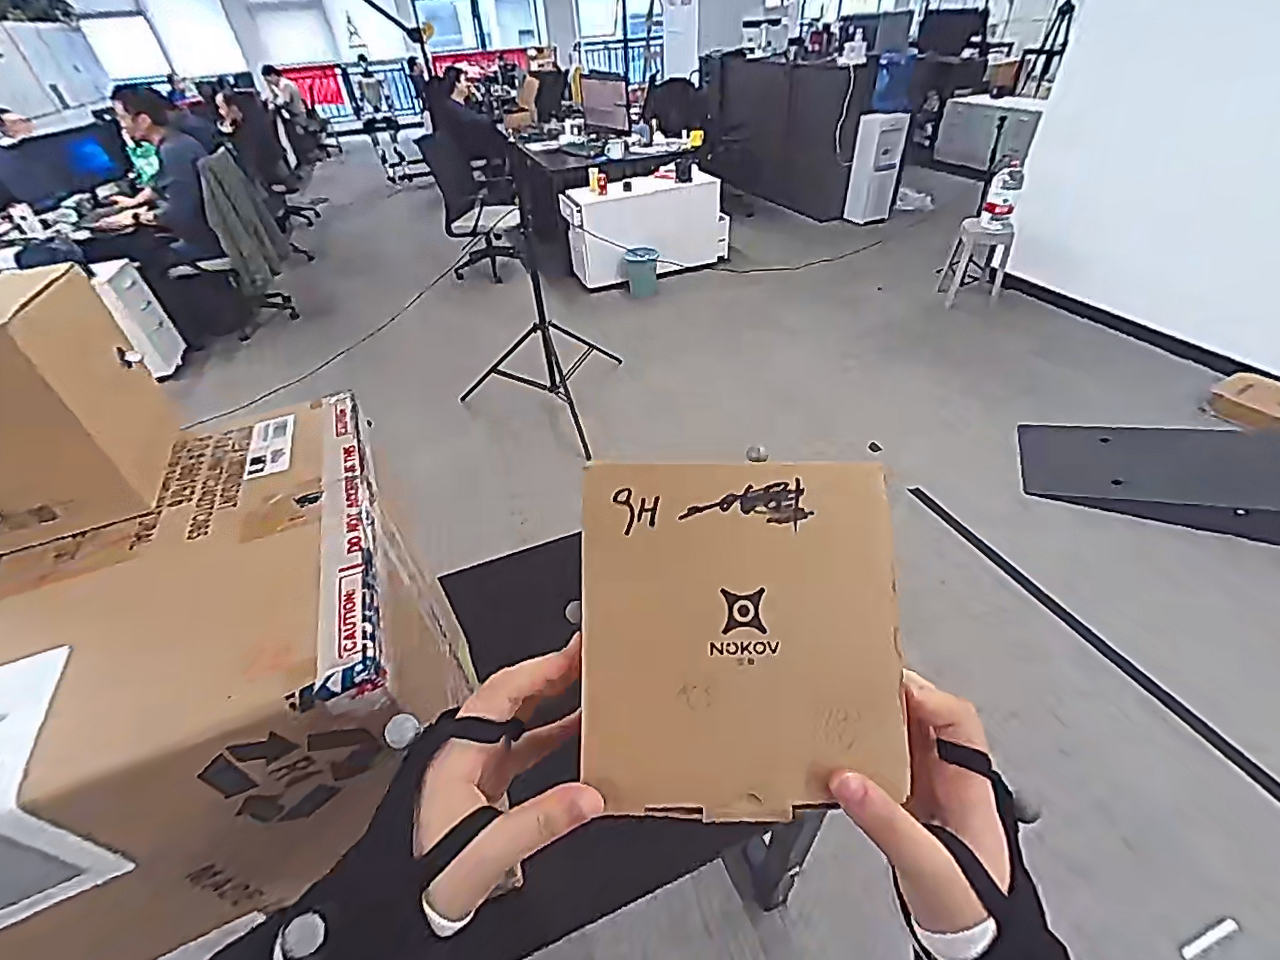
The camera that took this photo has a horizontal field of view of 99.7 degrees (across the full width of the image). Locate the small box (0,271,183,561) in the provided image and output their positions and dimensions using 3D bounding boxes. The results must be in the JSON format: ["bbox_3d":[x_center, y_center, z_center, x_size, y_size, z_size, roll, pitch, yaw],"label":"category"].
[{"bbox_3d":[-0.524,-0.053,0.447,0.168,0.176,0.179,-21,42,-20],"label":"small box"}]

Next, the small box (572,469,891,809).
[{"bbox_3d":[0.045,0.091,0.364,0.168,0.176,0.179,0,82,-2],"label":"small box"}]
